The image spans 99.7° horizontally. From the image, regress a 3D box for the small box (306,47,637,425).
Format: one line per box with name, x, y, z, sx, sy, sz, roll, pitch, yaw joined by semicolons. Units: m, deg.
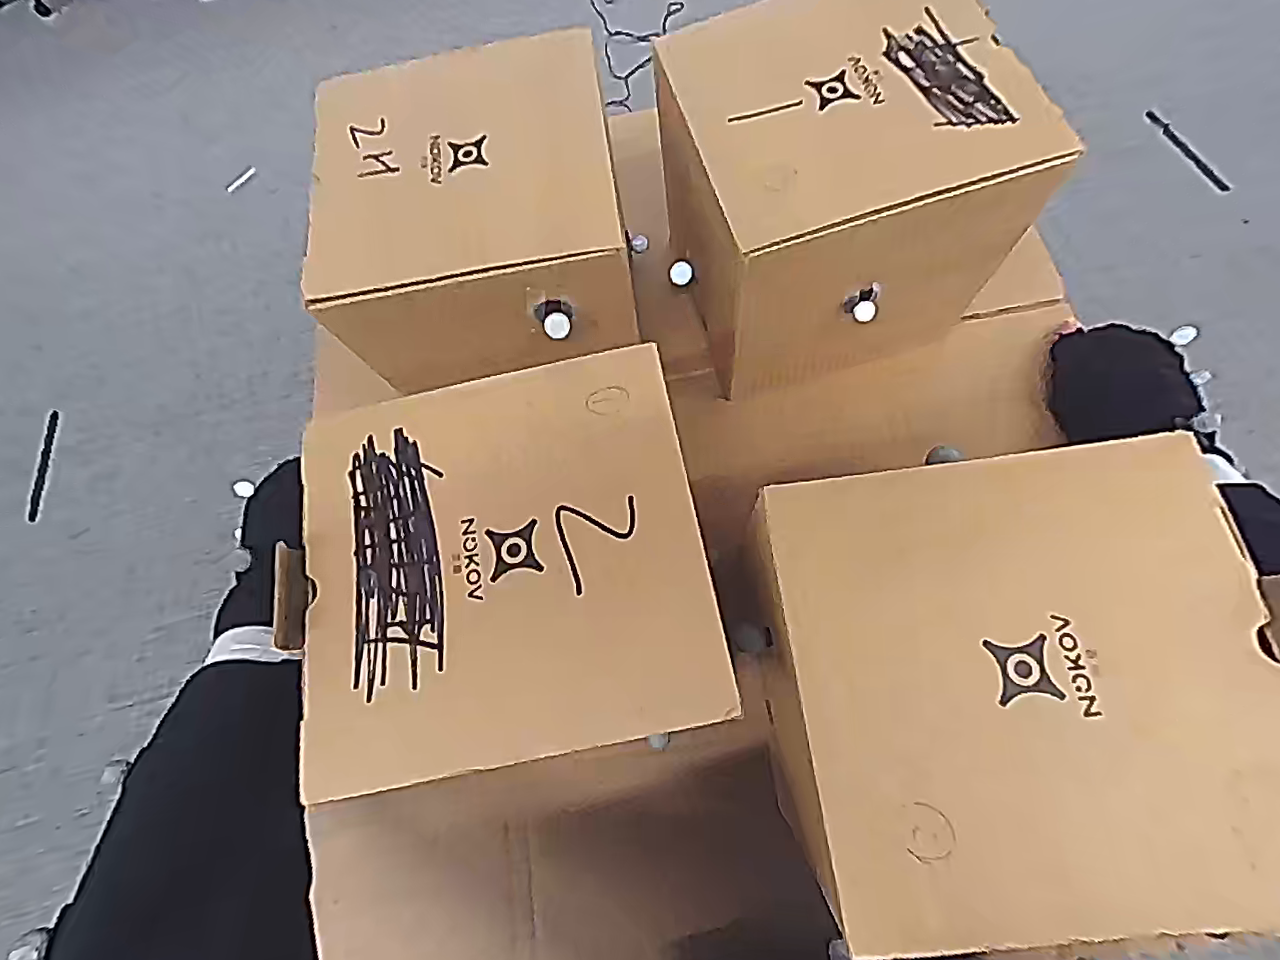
small box;-0.099;-0.154;0.391;0.179;0.176;0.168;-9;71;4
